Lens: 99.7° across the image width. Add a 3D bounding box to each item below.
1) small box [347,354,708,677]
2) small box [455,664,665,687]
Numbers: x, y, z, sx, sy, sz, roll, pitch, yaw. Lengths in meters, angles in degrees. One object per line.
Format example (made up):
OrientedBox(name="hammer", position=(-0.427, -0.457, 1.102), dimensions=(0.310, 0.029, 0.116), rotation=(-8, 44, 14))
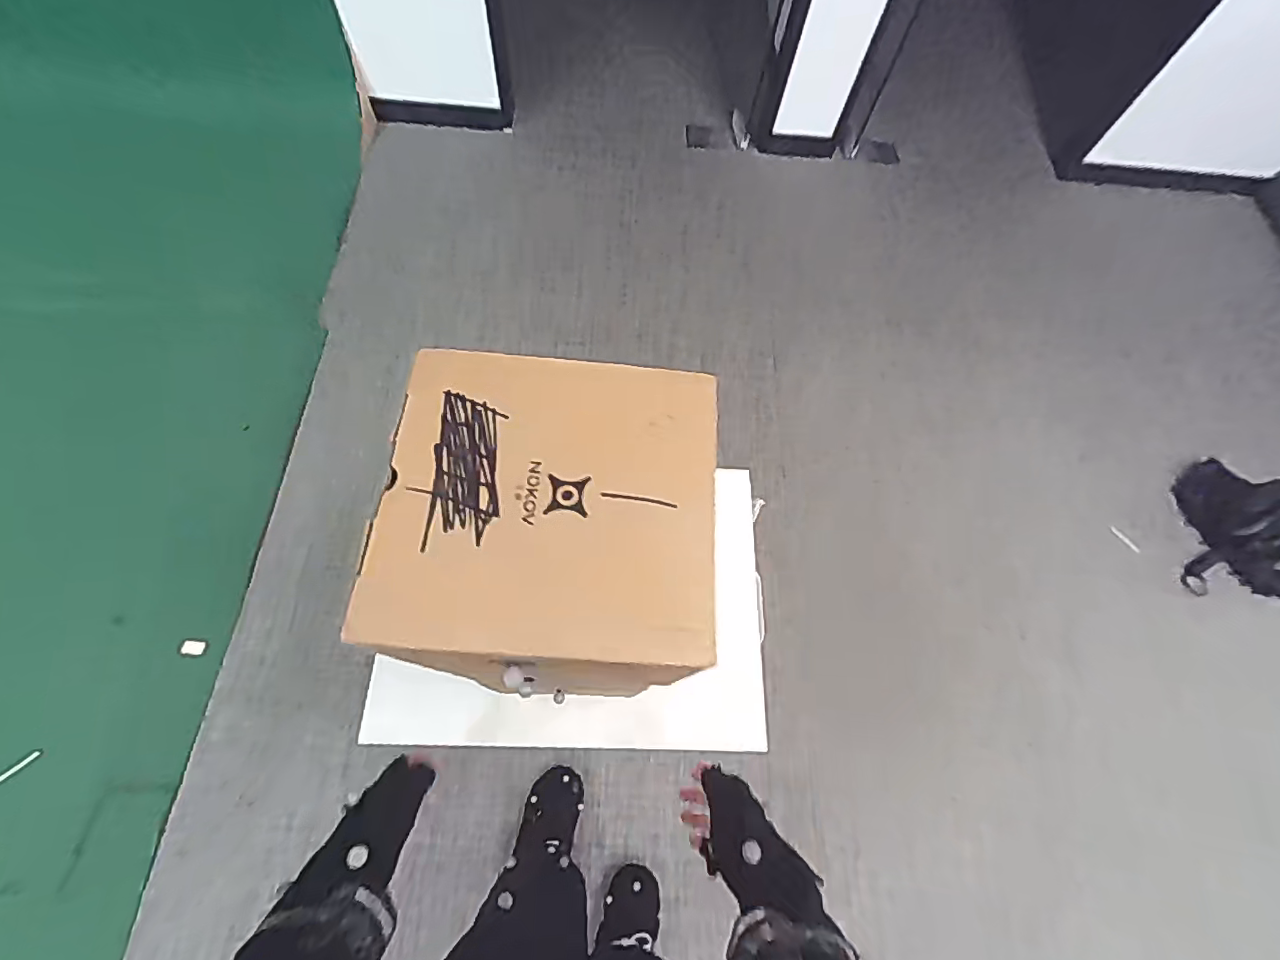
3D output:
OrientedBox(name="small box", position=(-0.055, 0.038, 0.366), dimensions=(0.179, 0.176, 0.168), rotation=(5, 66, -3))
OrientedBox(name="small box", position=(-0.068, 0.100, 0.520), dimensions=(0.168, 0.176, 0.179), rotation=(2, 67, -4))
